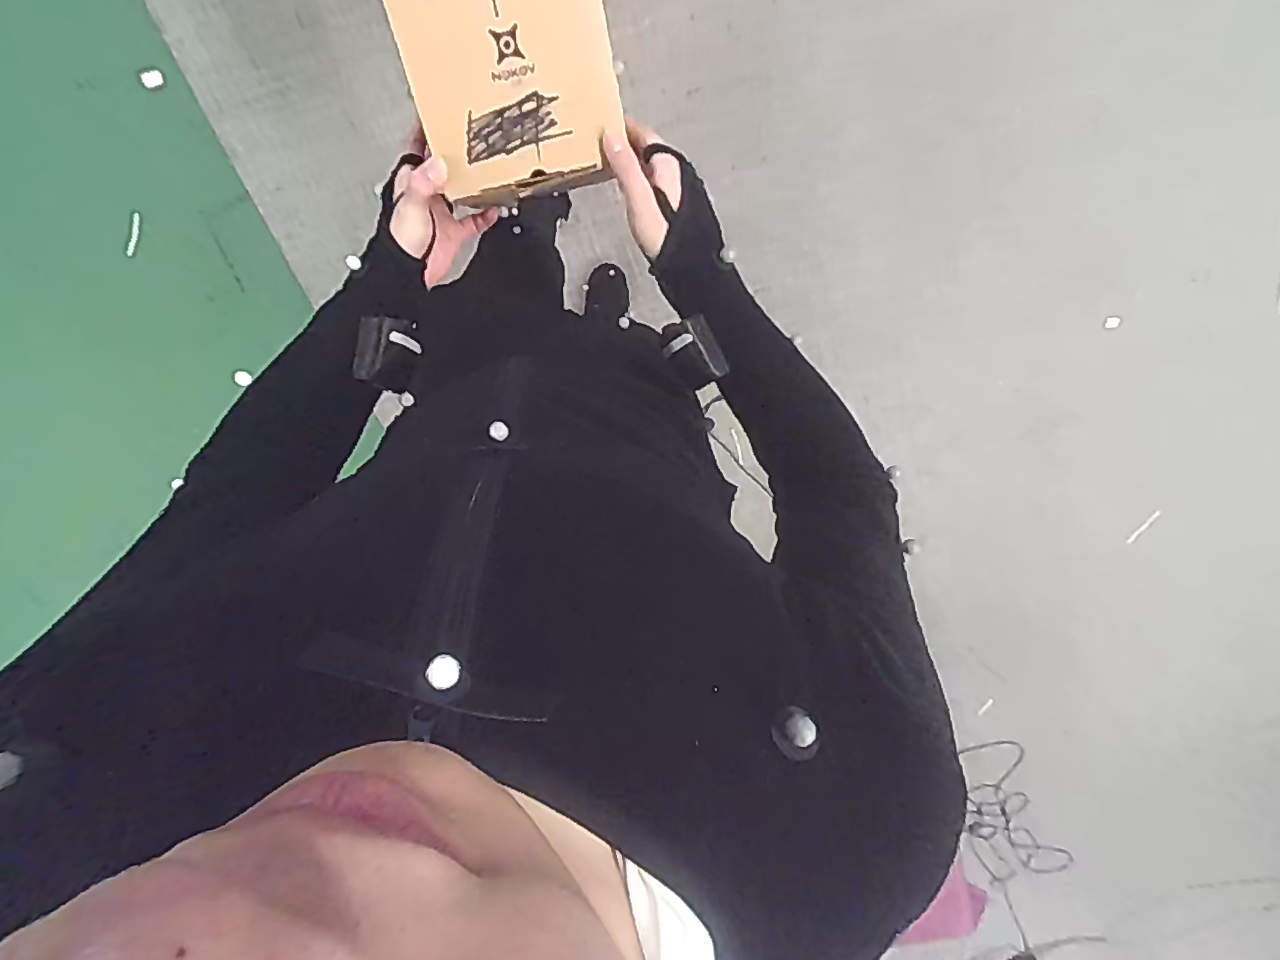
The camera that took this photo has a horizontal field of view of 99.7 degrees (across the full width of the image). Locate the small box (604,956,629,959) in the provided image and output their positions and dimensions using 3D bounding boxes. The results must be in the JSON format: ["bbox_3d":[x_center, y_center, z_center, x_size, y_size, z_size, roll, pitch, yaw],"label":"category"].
[{"bbox_3d":[-0.082,1.489,1.518,0.168,0.176,0.179,-20,114,8],"label":"small box"}]

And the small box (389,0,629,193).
[{"bbox_3d":[-0.111,-0.373,0.494,0.168,0.176,0.179,-13,114,-2],"label":"small box"}]
